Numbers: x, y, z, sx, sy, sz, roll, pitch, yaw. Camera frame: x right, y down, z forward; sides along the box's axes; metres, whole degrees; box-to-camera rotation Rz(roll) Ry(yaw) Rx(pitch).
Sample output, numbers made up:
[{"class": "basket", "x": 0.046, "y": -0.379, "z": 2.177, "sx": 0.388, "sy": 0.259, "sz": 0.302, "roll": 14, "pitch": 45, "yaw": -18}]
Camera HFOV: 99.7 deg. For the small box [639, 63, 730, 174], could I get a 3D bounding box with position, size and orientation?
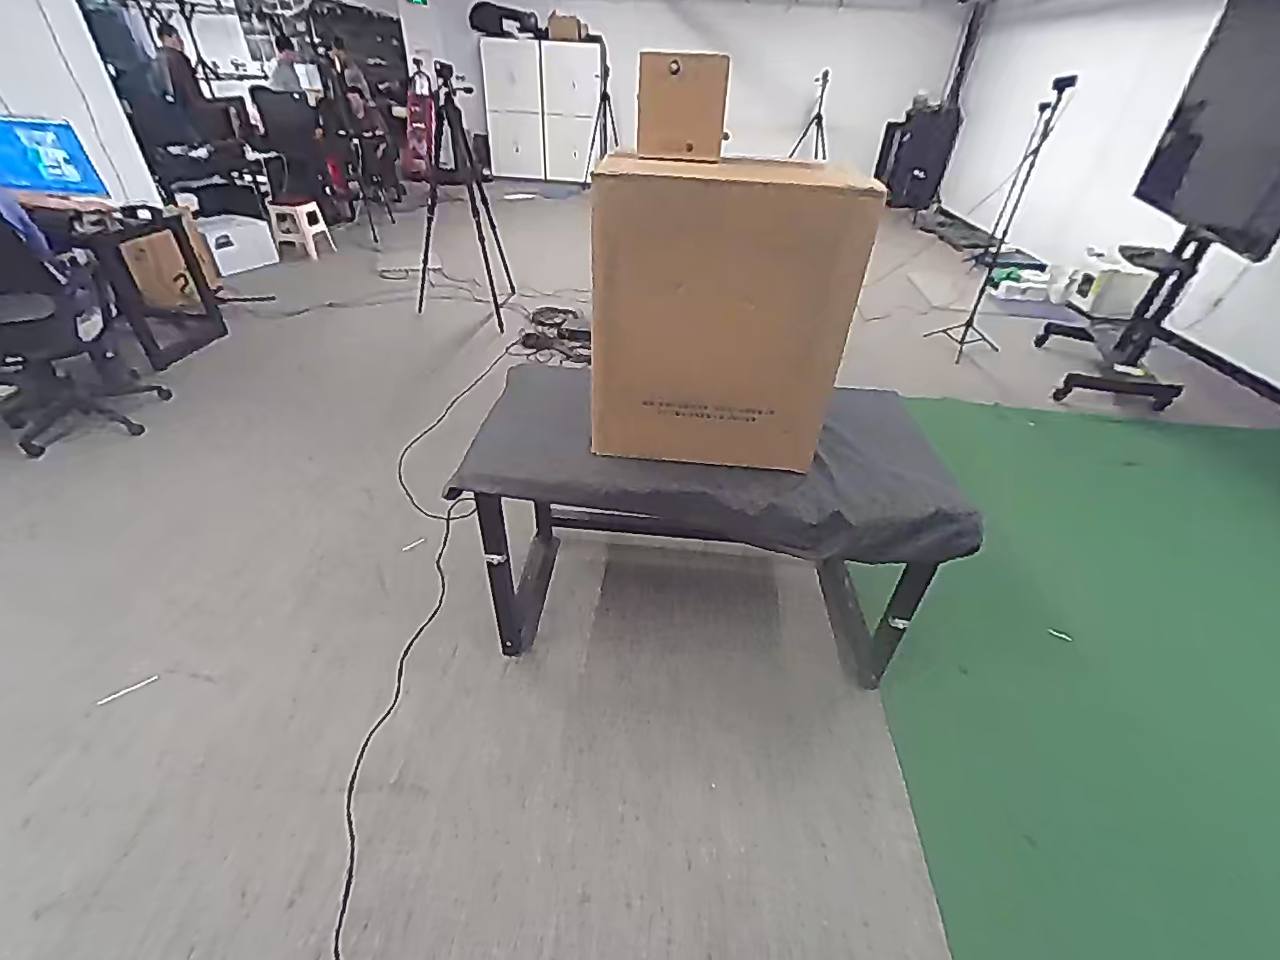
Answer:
[{"class": "small box", "x": 0.088, "y": -0.730, "z": 1.098, "sx": 0.168, "sy": 0.176, "sz": 0.179, "roll": 5, "pitch": 34, "yaw": 4}]
